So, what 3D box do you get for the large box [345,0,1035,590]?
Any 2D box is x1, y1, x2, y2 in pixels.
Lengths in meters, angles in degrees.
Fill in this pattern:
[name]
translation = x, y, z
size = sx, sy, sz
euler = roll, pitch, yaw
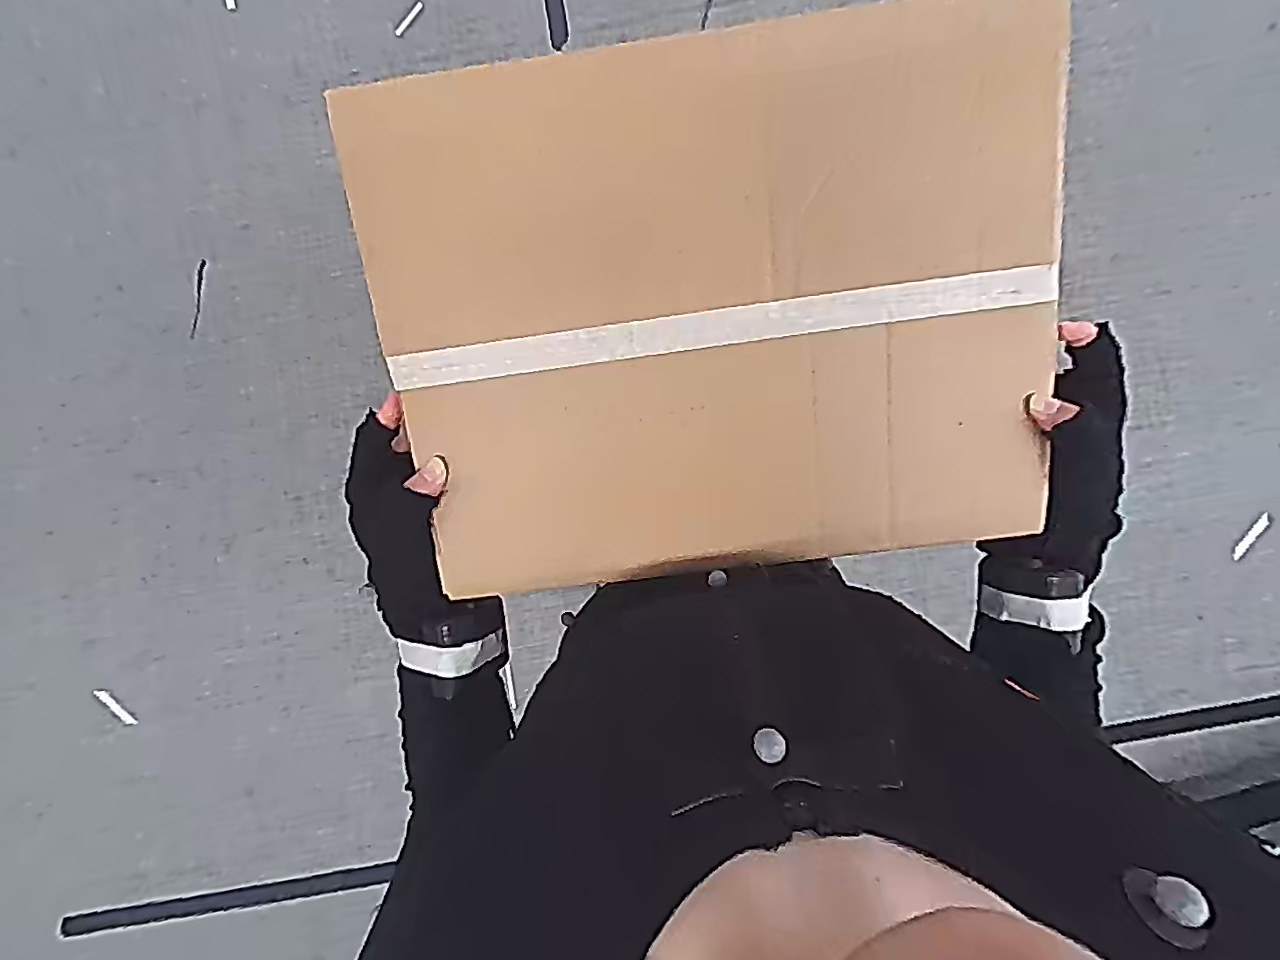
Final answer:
[large box]
translation = 0.042, -0.128, 0.486
size = 0.408, 0.320, 0.320
euler = -7, 104, 2
